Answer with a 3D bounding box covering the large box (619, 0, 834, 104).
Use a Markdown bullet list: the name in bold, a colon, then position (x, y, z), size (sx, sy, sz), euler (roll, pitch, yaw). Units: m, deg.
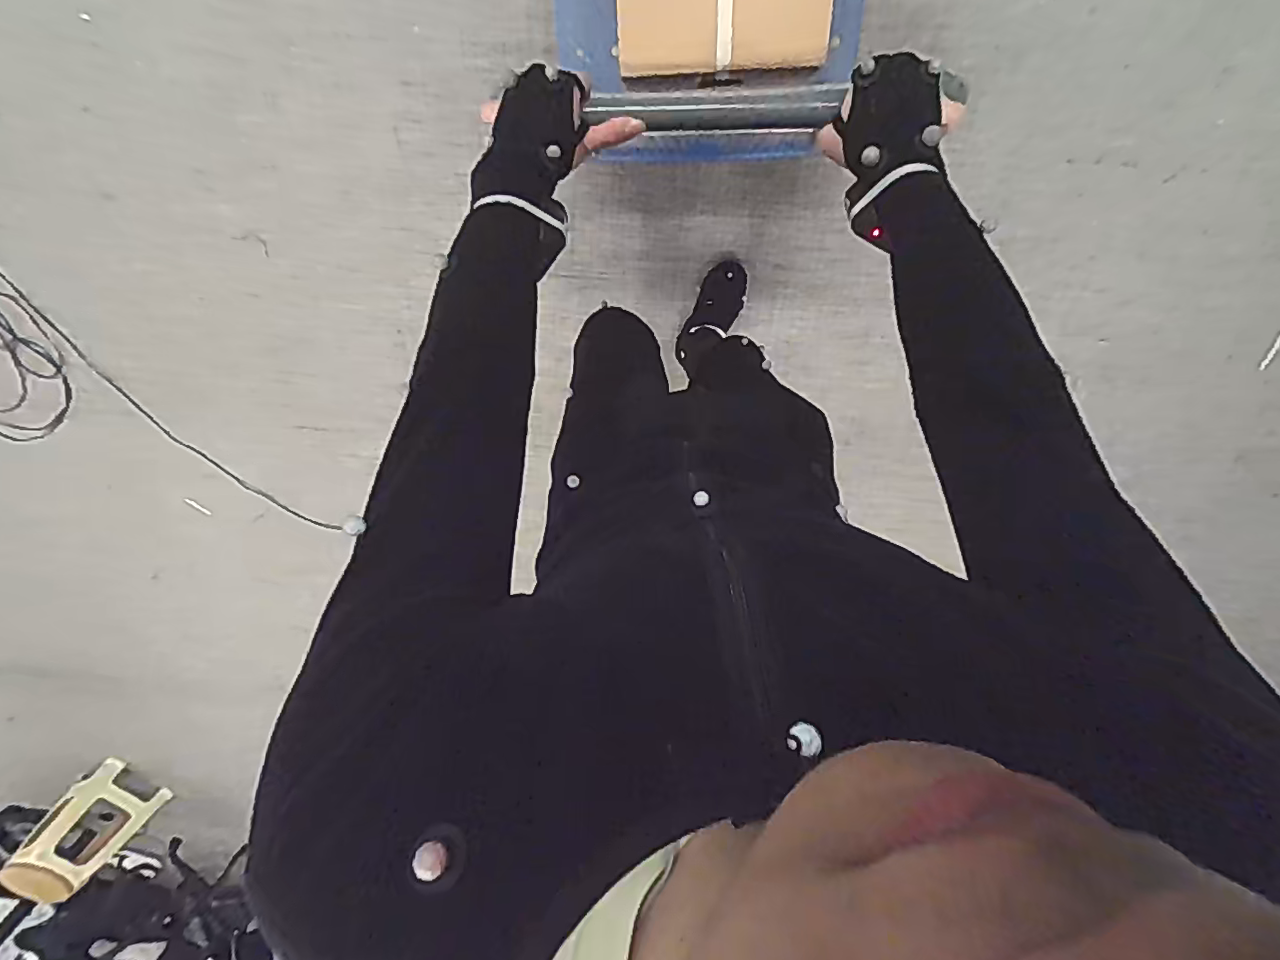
- **large box**: position (0.131, -0.869, 0.860), size (0.320, 0.320, 0.408), euler (1, 117, 4)
